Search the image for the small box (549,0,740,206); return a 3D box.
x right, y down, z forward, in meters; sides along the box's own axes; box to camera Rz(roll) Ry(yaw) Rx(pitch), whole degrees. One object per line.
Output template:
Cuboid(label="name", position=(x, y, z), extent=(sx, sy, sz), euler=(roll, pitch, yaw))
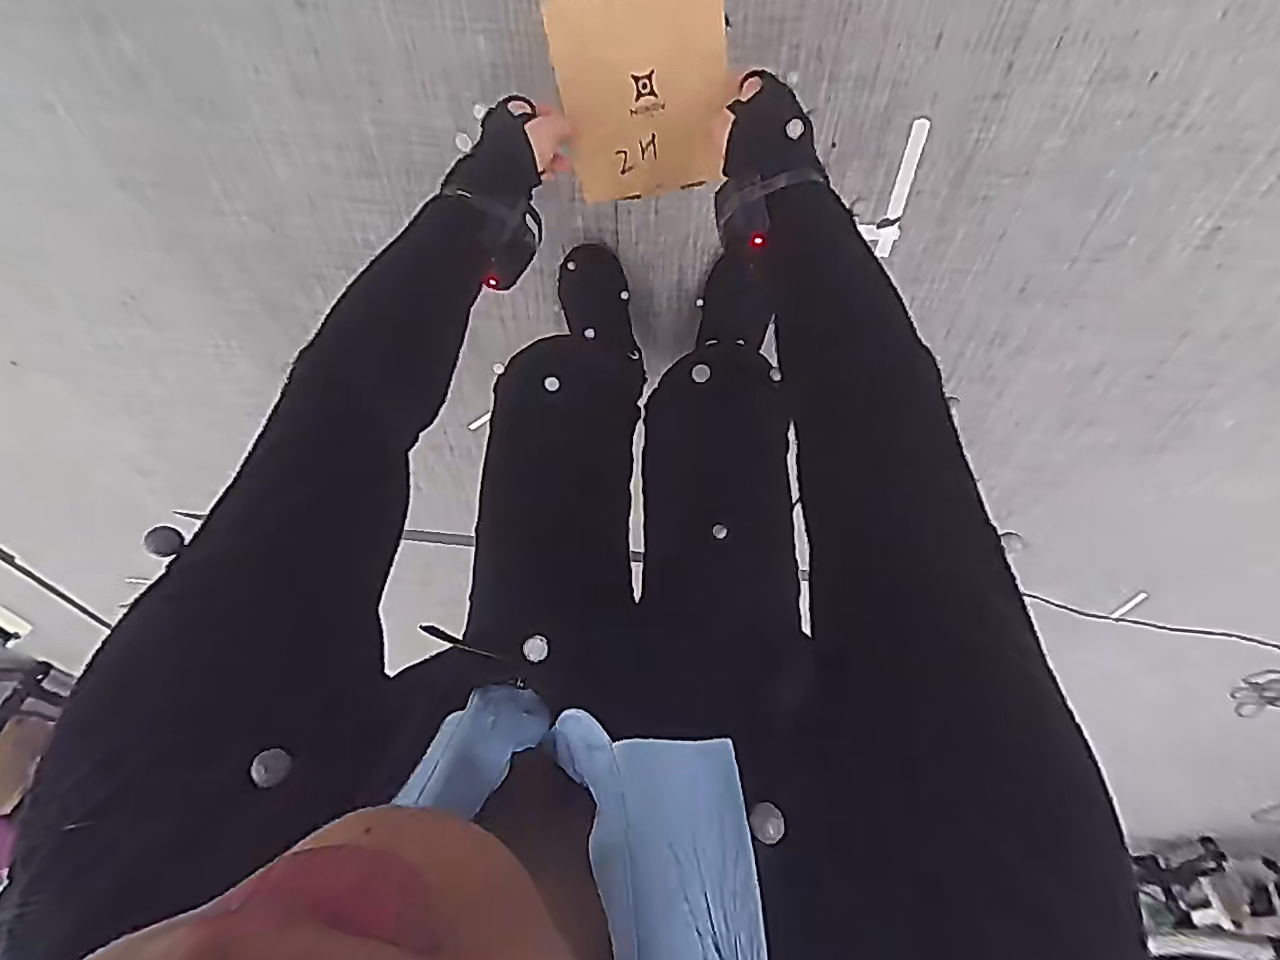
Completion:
Cuboid(label="small box", position=(0.015, -0.421, 0.585), extent=(0.168, 0.176, 0.179), euler=(-5, 129, 10))
